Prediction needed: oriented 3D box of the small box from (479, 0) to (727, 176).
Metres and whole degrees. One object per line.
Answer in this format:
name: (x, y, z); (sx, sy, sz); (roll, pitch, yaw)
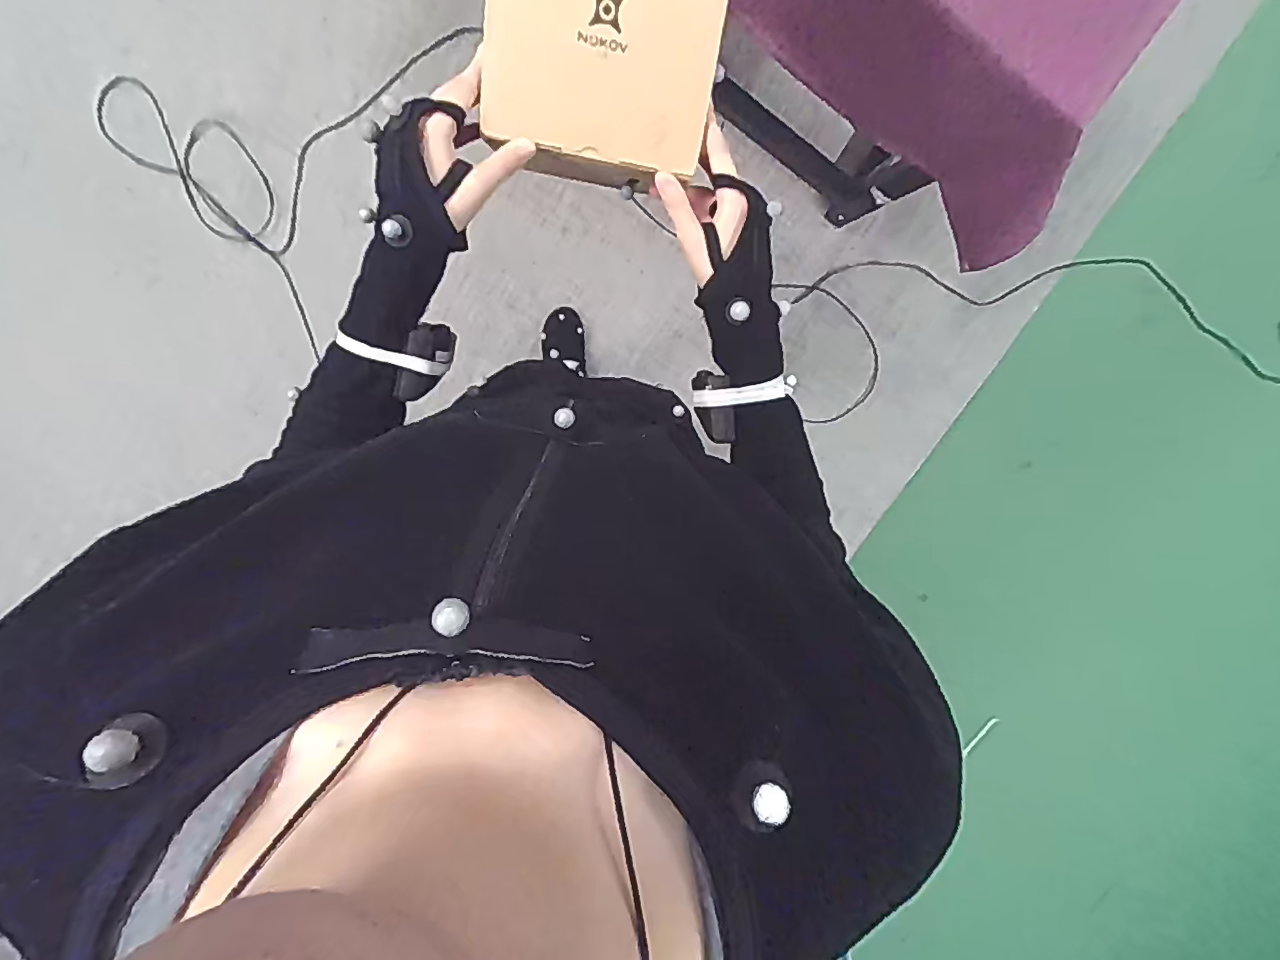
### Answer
small box: (-0.027, -0.367, 0.442); (0.168, 0.176, 0.179); (8, 112, -9)

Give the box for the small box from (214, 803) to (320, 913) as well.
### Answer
small box: (-1.084, 1.104, 1.589); (0.168, 0.176, 0.179); (33, 99, -12)
